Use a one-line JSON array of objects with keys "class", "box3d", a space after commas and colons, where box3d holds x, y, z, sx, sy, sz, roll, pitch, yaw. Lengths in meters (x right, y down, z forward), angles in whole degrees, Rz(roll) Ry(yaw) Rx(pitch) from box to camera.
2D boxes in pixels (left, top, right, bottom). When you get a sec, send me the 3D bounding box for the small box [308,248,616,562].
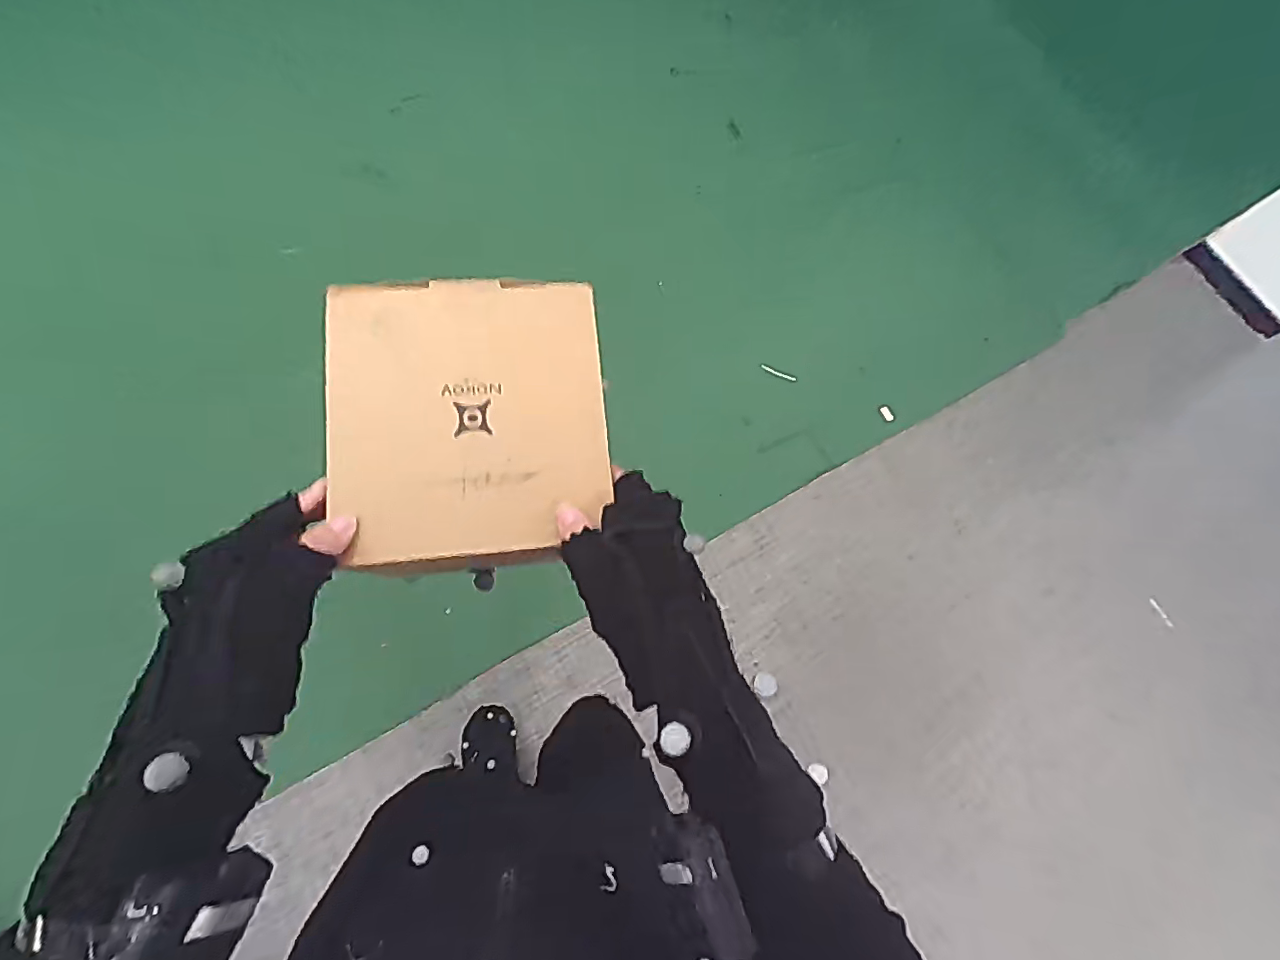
[{"class": "small box", "box3d": [-0.112, -0.038, 0.390, 0.168, 0.176, 0.179, -3, 79, -9]}]
